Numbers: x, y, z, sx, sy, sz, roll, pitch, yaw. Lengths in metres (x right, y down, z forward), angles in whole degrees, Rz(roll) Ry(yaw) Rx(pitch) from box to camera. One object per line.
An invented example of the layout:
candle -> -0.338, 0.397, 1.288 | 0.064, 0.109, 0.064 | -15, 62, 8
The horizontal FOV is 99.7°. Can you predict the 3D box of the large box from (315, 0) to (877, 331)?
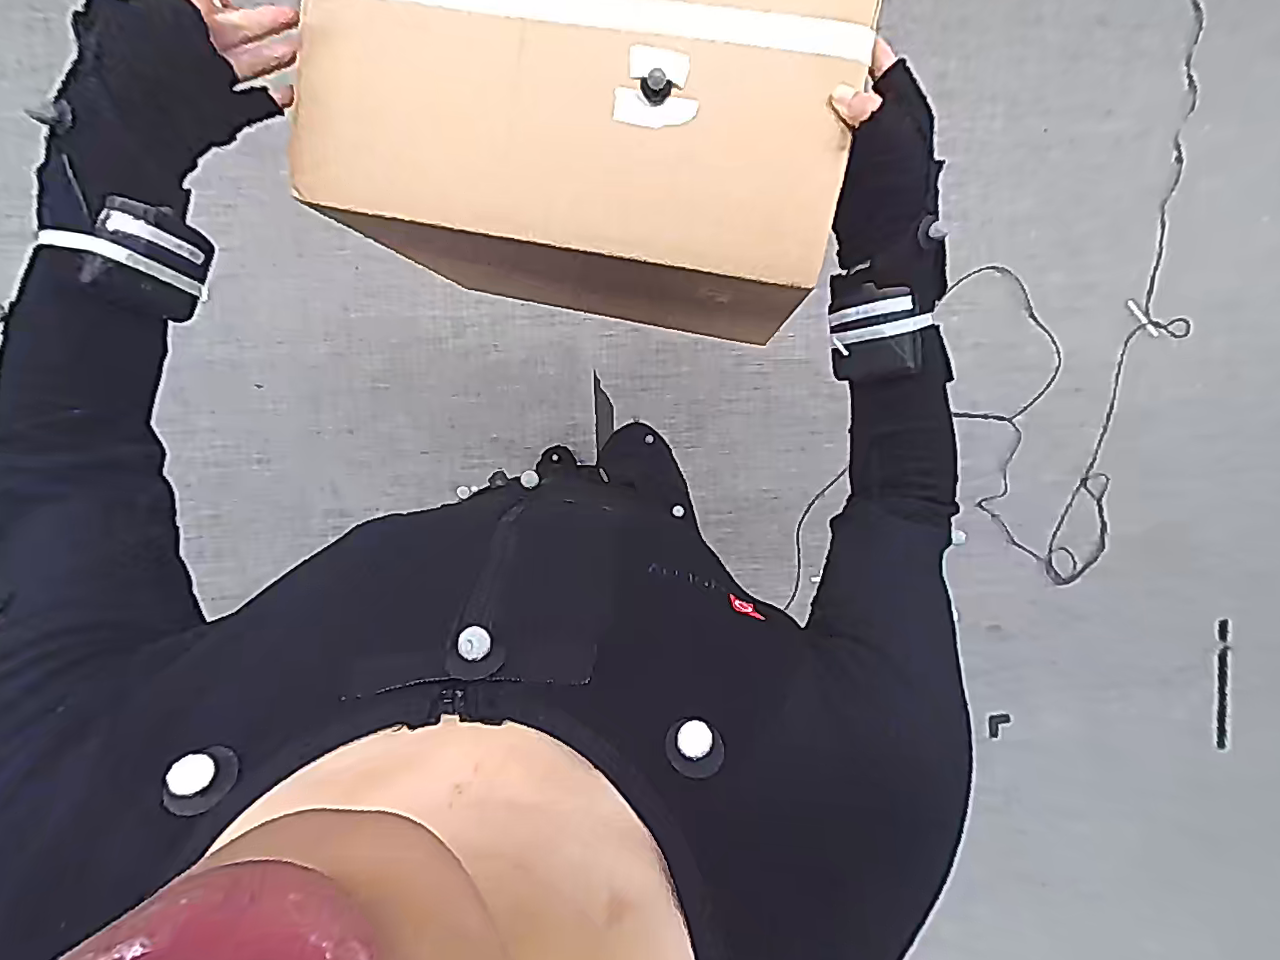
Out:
large box -> -0.023, -0.354, 0.537 | 0.408, 0.320, 0.320 | 11, 99, 4
